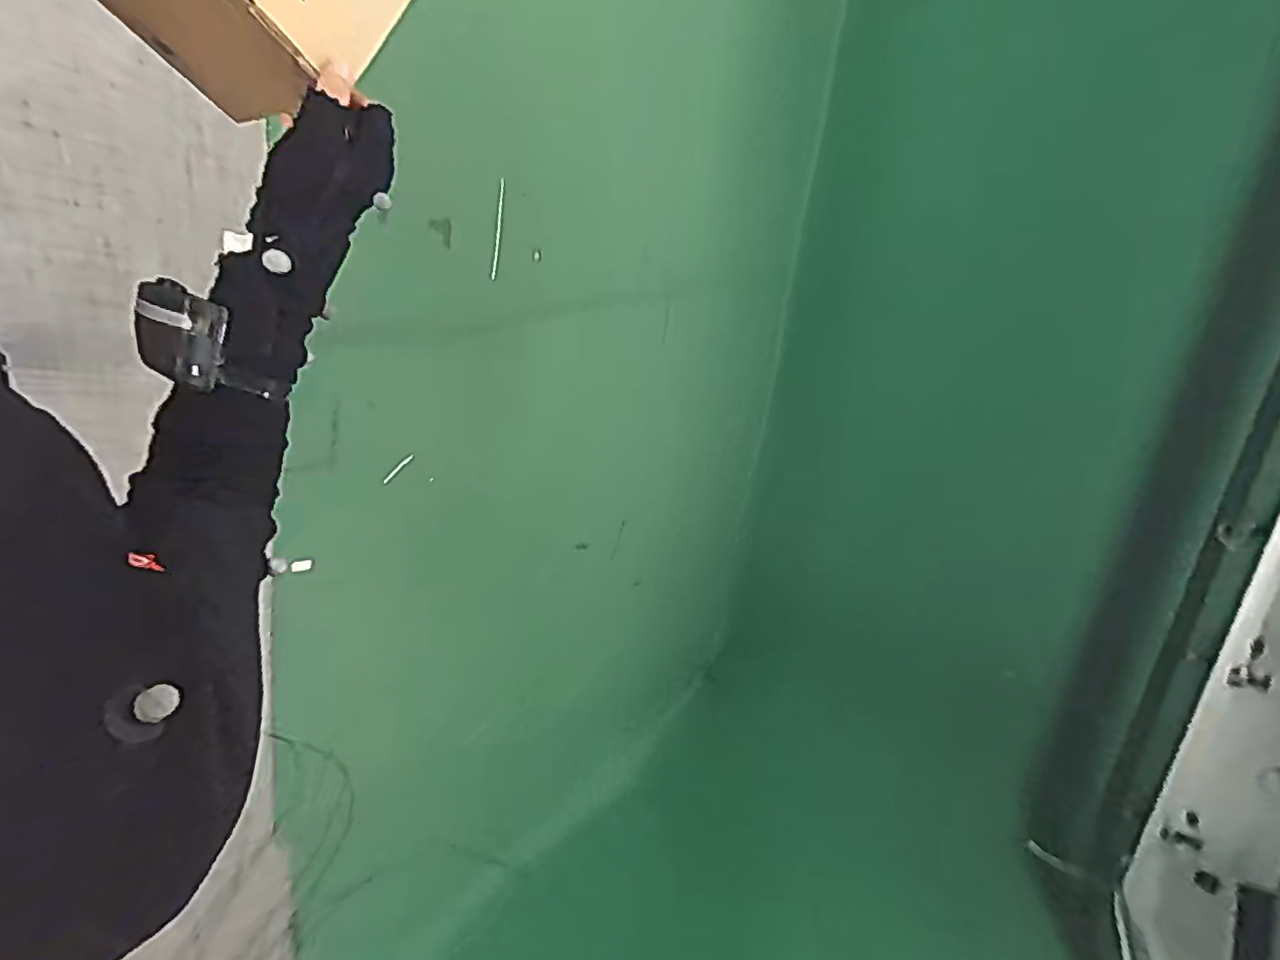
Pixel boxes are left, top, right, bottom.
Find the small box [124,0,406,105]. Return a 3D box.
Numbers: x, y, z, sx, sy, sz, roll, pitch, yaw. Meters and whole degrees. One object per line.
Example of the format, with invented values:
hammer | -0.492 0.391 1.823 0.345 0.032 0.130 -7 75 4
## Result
small box | -0.268 -0.389 0.359 0.168 0.176 0.179 42 67 -58
